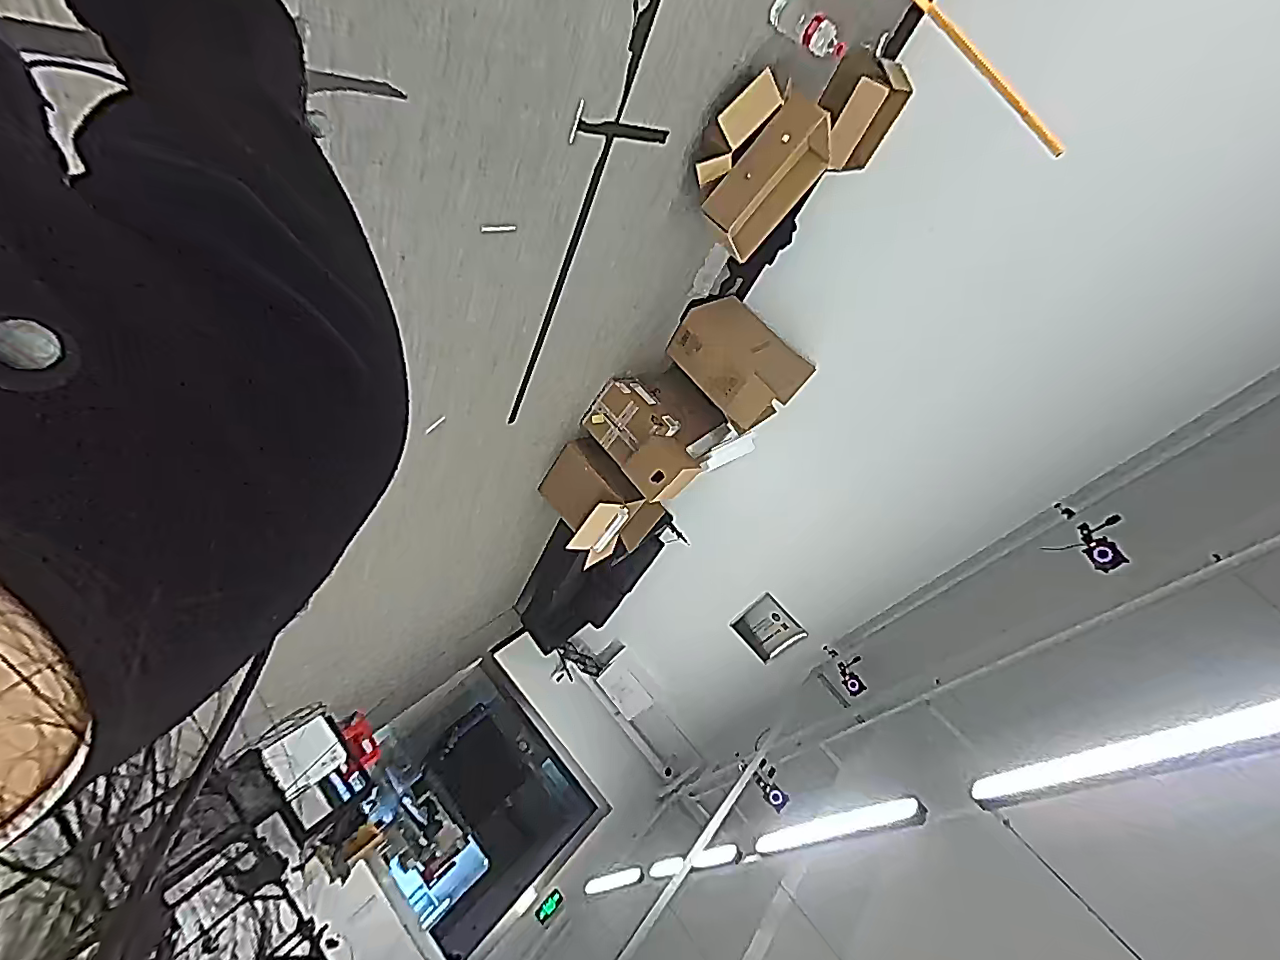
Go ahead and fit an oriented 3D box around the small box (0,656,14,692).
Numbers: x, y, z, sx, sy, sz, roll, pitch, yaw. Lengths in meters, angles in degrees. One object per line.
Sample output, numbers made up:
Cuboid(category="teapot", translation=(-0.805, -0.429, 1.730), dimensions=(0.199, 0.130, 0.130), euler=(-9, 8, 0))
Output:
Cuboid(category="small box", translation=(-2.072, 0.580, 1.635), dimensions=(0.168, 0.176, 0.179), euler=(-31, 162, -43))
